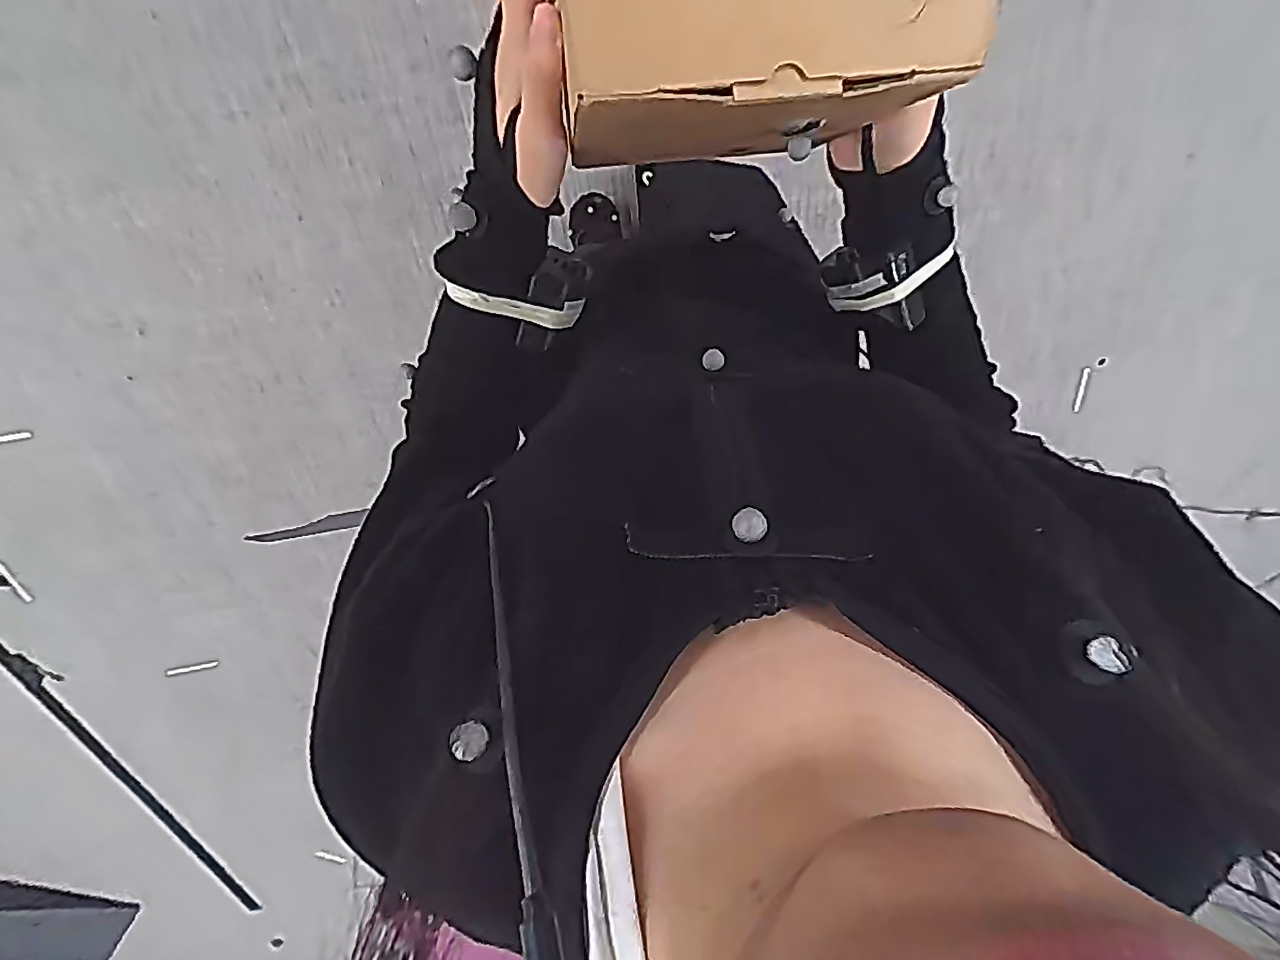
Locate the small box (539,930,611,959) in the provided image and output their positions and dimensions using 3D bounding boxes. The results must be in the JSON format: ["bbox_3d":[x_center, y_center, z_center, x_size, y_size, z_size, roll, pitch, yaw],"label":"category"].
[{"bbox_3d":[-0.146,1.205,1.270,0.168,0.176,0.179,-6,118,-6],"label":"small box"}]

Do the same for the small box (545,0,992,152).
[{"bbox_3d":[0.038,-0.264,0.248,0.168,0.176,0.179,-8,112,-6],"label":"small box"}]
